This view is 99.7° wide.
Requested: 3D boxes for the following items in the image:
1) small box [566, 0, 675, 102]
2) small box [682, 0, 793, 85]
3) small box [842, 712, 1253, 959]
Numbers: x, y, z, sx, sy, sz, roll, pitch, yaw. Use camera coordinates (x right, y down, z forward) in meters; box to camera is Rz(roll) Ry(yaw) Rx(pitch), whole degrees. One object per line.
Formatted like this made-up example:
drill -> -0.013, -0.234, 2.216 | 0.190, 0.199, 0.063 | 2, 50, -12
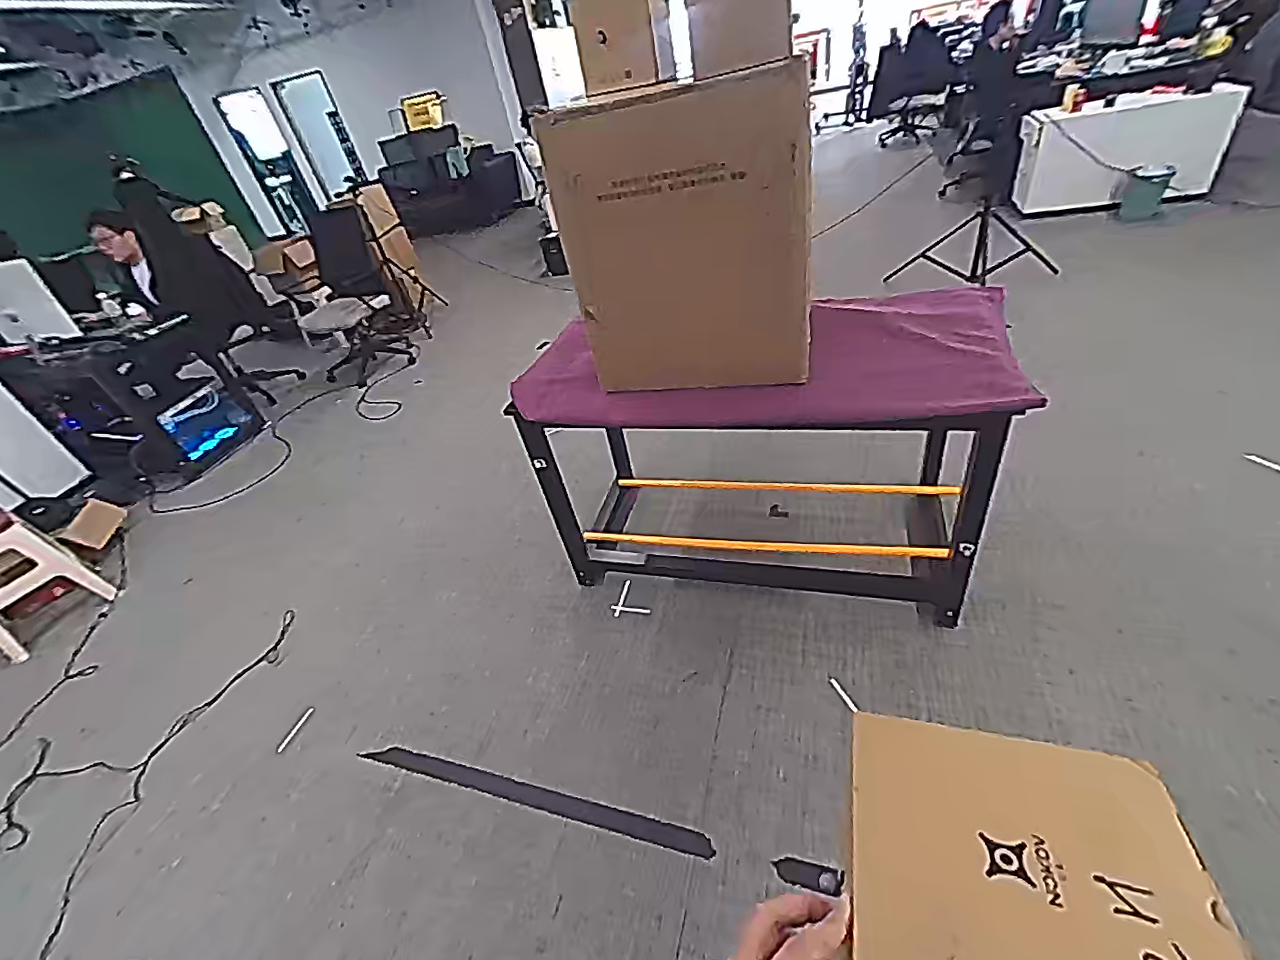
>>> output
small box -> -0.031, -0.925, 1.152 | 0.168, 0.176, 0.179 | 3, 40, 20
small box -> 0.174, -0.818, 0.950 | 0.179, 0.176, 0.168 | -2, 39, 17
small box -> 0.219, 0.279, 0.332 | 0.179, 0.176, 0.168 | 3, 31, 20
